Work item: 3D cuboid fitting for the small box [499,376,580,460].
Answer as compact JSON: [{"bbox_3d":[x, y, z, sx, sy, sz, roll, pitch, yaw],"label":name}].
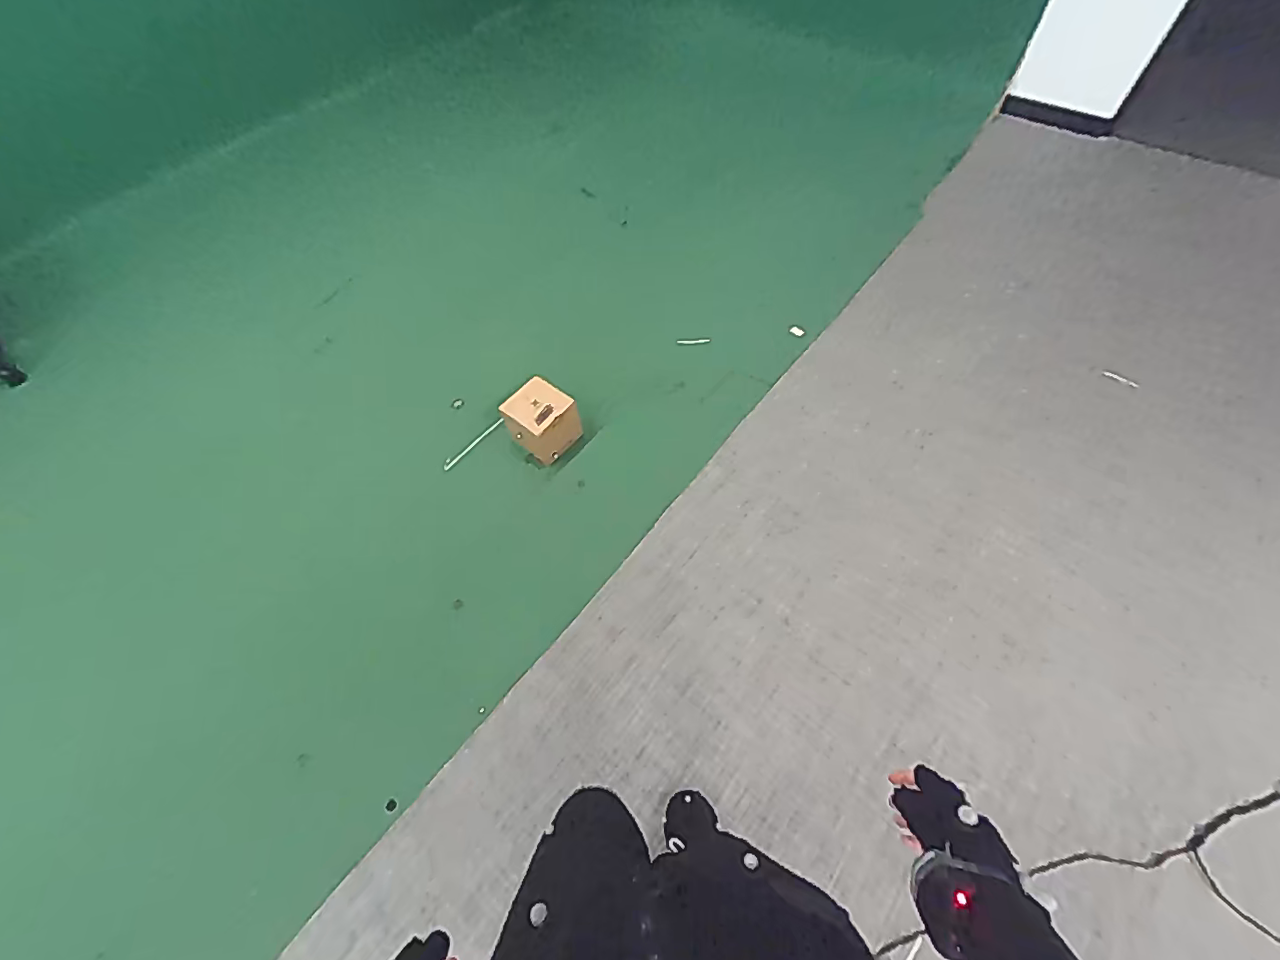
[{"bbox_3d":[-0.308,-0.187,1.704,0.179,0.176,0.168,35,67,22],"label":"small box"}]
